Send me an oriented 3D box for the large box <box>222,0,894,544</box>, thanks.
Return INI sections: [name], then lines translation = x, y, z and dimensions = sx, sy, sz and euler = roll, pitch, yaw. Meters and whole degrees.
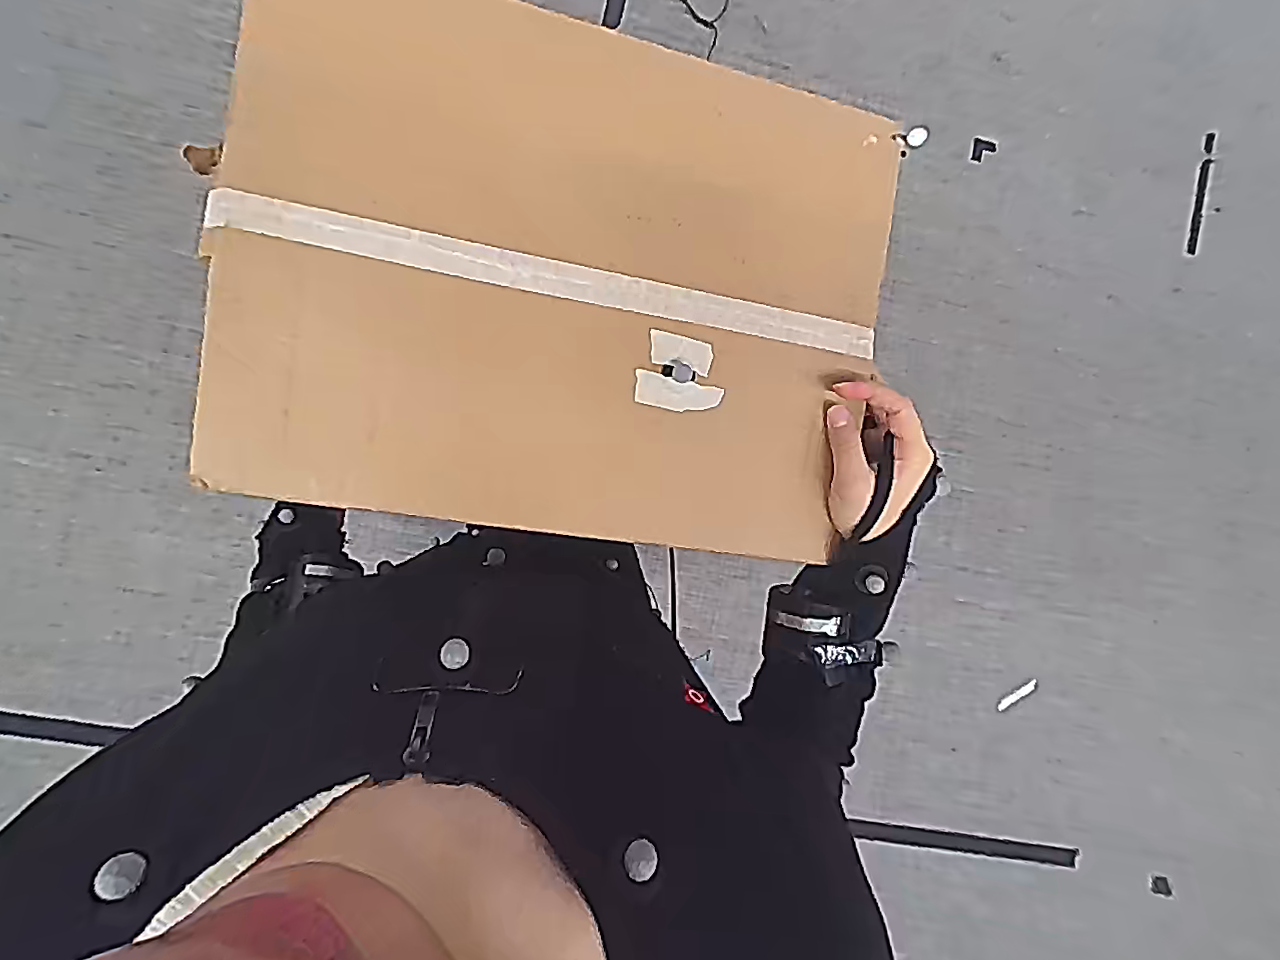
[large box]
translation = -0.062, -0.136, 0.491
dimensions = 0.408, 0.320, 0.320
euler = 8, 92, -13
